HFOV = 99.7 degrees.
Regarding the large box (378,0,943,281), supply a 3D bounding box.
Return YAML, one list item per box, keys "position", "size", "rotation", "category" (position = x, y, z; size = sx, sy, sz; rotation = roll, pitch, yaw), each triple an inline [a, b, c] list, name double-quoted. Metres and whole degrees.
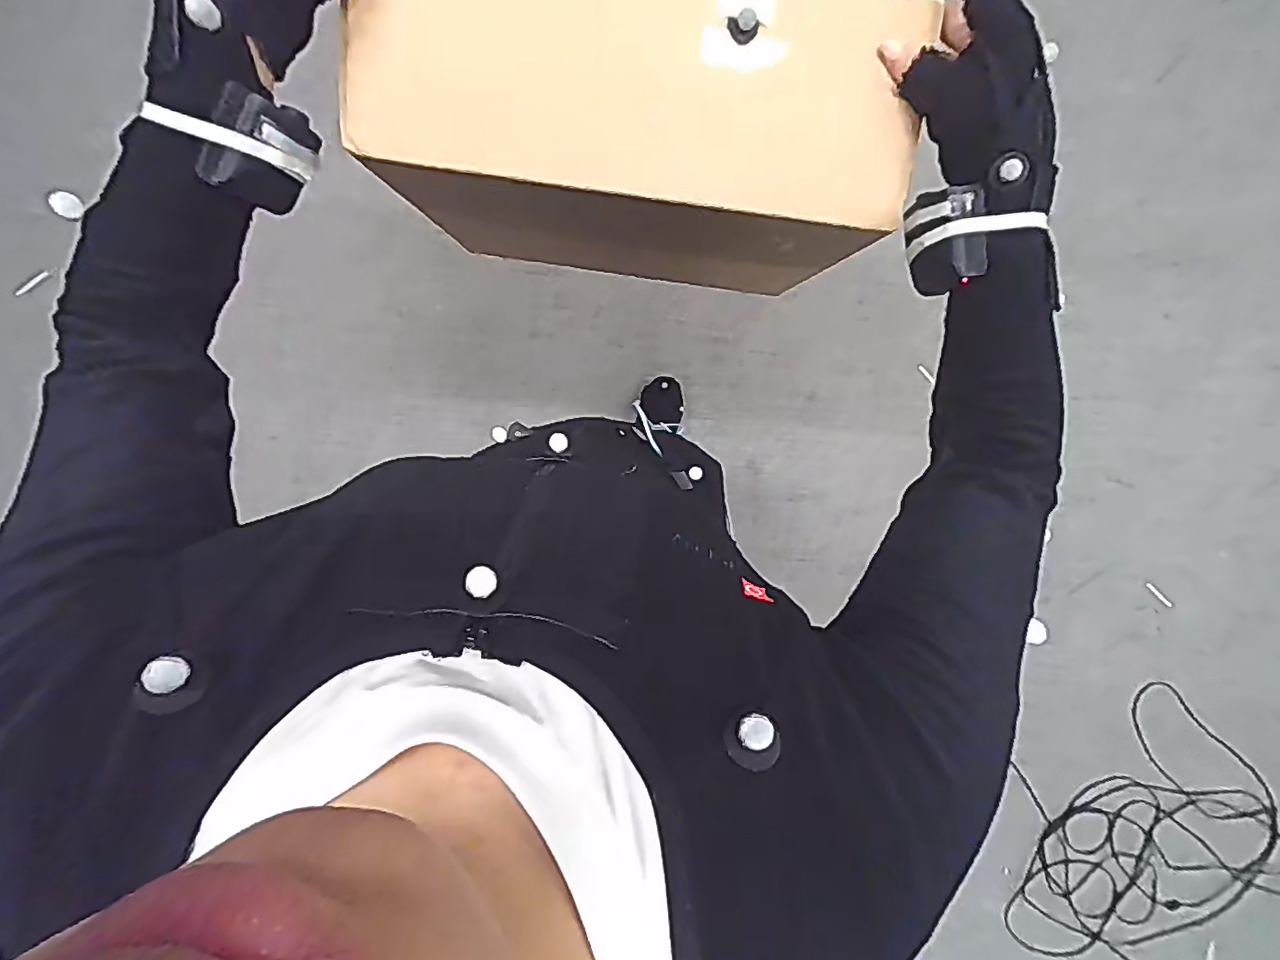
- position: [0.014, -0.397, 0.521]
  size: [0.408, 0.320, 0.320]
  rotation: [6, 101, -4]
  category: "large box"
